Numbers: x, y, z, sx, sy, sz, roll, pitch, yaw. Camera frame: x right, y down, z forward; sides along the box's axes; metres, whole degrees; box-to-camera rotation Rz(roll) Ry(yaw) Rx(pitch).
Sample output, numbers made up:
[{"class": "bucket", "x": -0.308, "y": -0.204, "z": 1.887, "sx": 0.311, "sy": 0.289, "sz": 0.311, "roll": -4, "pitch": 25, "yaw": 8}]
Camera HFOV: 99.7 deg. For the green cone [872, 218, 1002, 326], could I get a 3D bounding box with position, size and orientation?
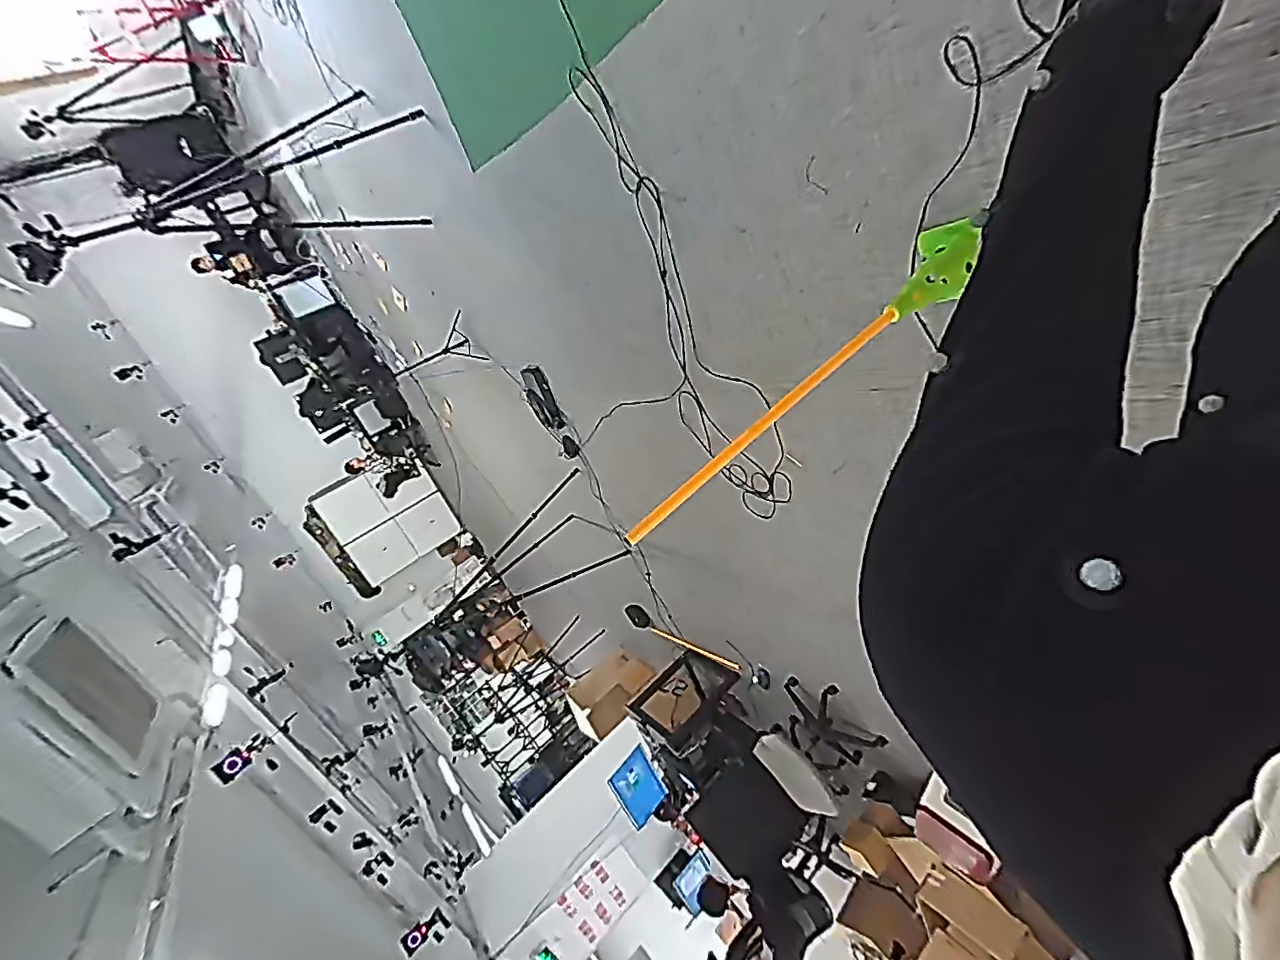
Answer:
[{"class": "green cone", "x": 0.706, "y": -0.482, "z": 1.356, "sx": 0.202, "sy": 0.368, "sz": 0.200, "roll": 9, "pitch": 129, "yaw": 58}]
